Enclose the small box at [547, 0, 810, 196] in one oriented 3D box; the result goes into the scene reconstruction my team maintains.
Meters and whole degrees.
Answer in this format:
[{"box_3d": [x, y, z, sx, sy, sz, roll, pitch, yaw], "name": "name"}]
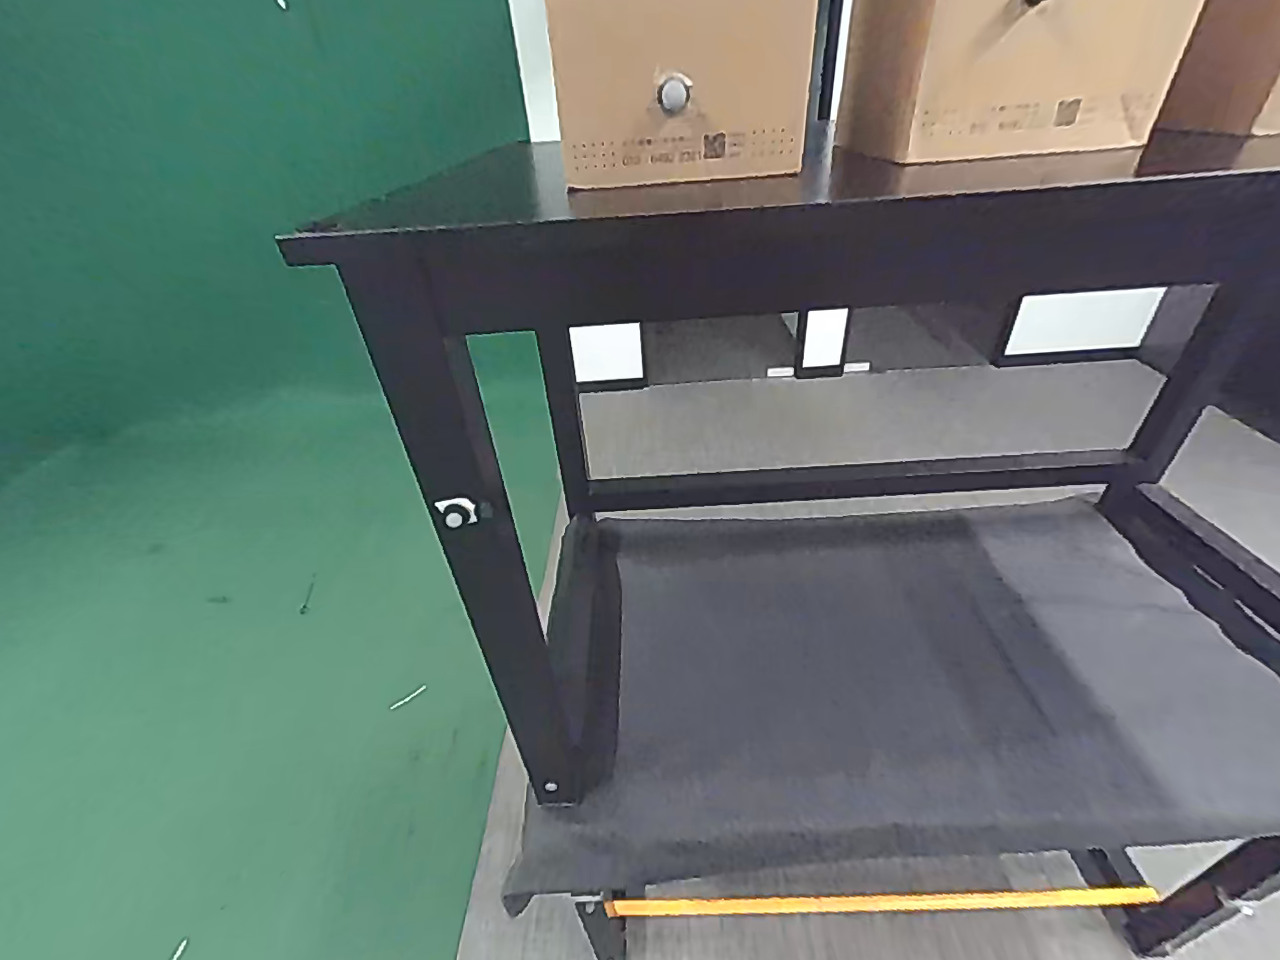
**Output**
[{"box_3d": [0.023, -0.321, 0.410, 0.168, 0.176, 0.179, -4, 36, 1], "name": "small box"}]
